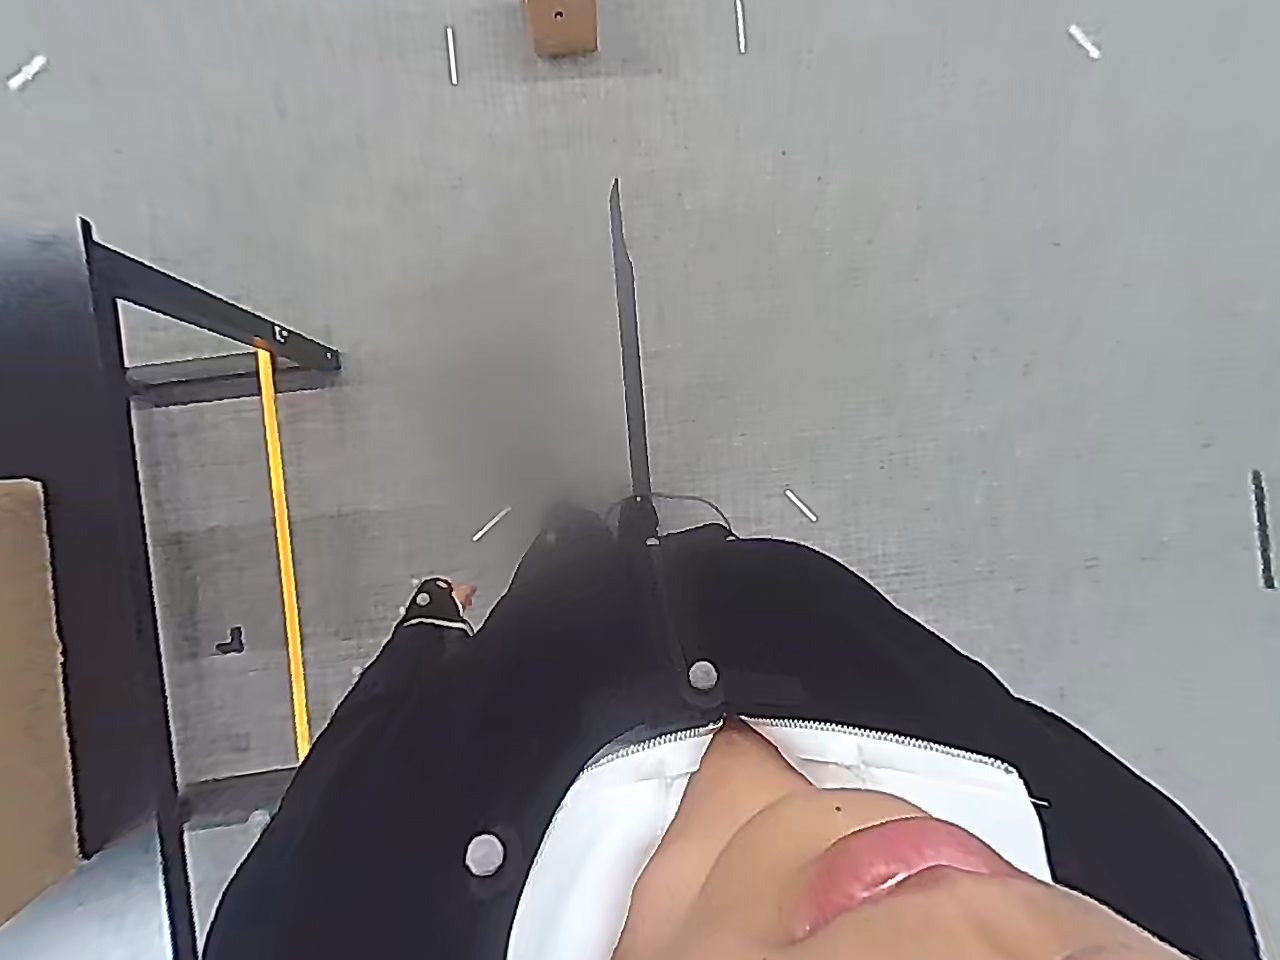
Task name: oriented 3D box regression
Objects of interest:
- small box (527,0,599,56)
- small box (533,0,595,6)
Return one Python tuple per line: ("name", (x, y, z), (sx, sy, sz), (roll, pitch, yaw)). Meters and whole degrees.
("small box", (-0.203, -1.240, 1.396), (0.179, 0.176, 0.168), (-10, 91, -4))
("small box", (-0.188, -1.240, 1.232), (0.168, 0.176, 0.179), (-6, 91, -3))
